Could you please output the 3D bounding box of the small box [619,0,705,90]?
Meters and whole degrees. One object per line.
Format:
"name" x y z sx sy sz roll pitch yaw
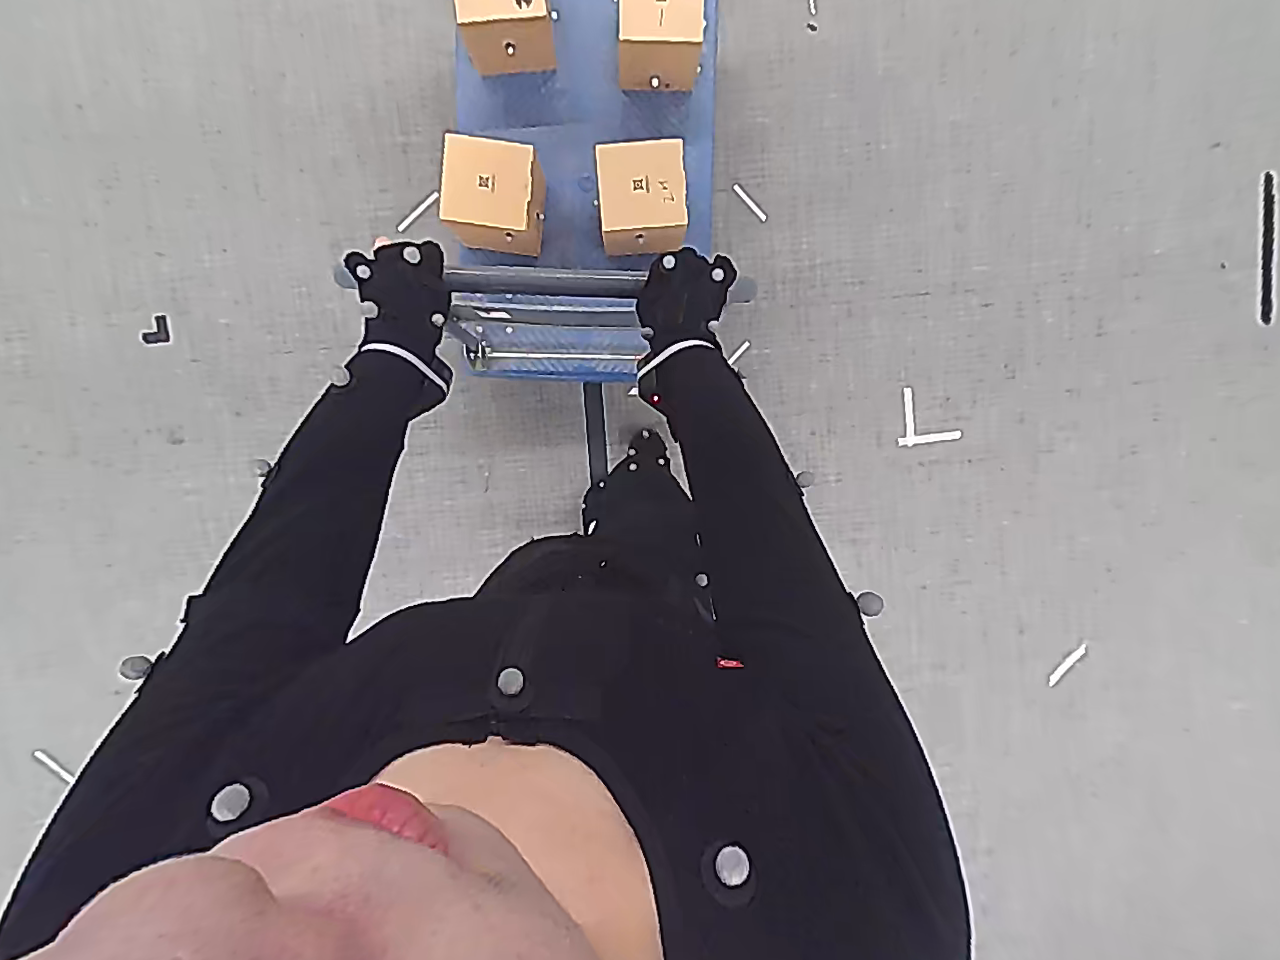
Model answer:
"small box" 0.041 -0.952 1.115 0.168 0.176 0.179 1 98 -1

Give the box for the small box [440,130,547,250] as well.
"small box" -0.304 -0.605 1.149 0.179 0.176 0.168 7 96 -3

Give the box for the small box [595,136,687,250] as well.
"small box" 0.003 -0.603 1.155 0.179 0.176 0.168 -4 97 -1
